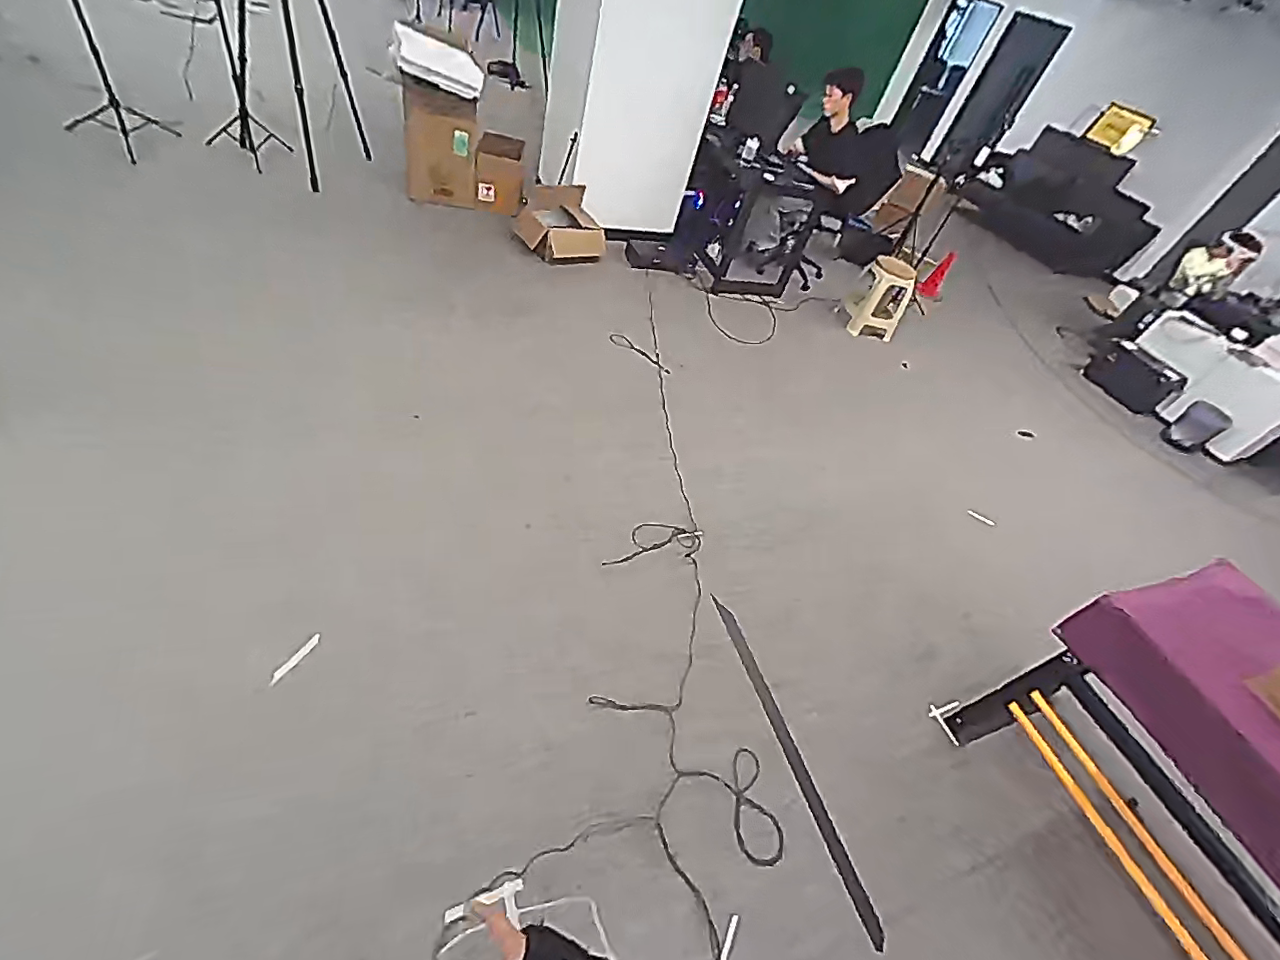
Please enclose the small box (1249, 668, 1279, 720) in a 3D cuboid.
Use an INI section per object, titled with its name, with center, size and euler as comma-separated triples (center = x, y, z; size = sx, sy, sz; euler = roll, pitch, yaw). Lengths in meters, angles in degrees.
[small box]
center = 1.529, 0.479, 1.191
size = 0.179, 0.176, 0.168
euler = -3, 49, -22
